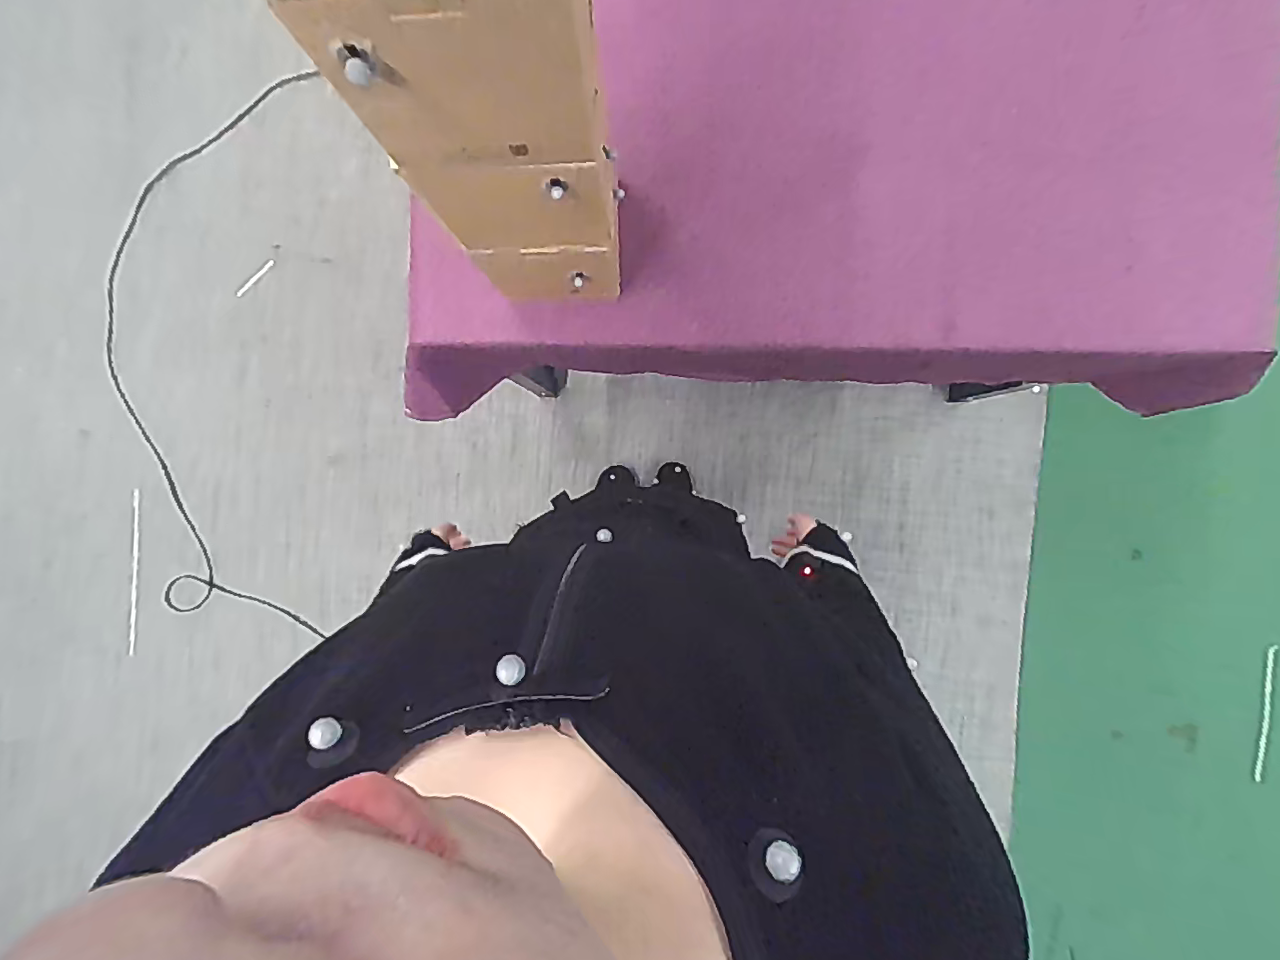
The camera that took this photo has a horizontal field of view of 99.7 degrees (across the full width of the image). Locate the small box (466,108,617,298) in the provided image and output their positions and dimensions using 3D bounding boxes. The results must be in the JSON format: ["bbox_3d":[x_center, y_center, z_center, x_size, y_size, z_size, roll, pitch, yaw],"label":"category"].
[{"bbox_3d":[-0.116,-0.342,0.694,0.168,0.176,0.179,0,90,0],"label":"small box"}]

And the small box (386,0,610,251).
[{"bbox_3d":[-0.124,-0.340,0.532,0.179,0.176,0.168,-2,91,0],"label":"small box"}]
